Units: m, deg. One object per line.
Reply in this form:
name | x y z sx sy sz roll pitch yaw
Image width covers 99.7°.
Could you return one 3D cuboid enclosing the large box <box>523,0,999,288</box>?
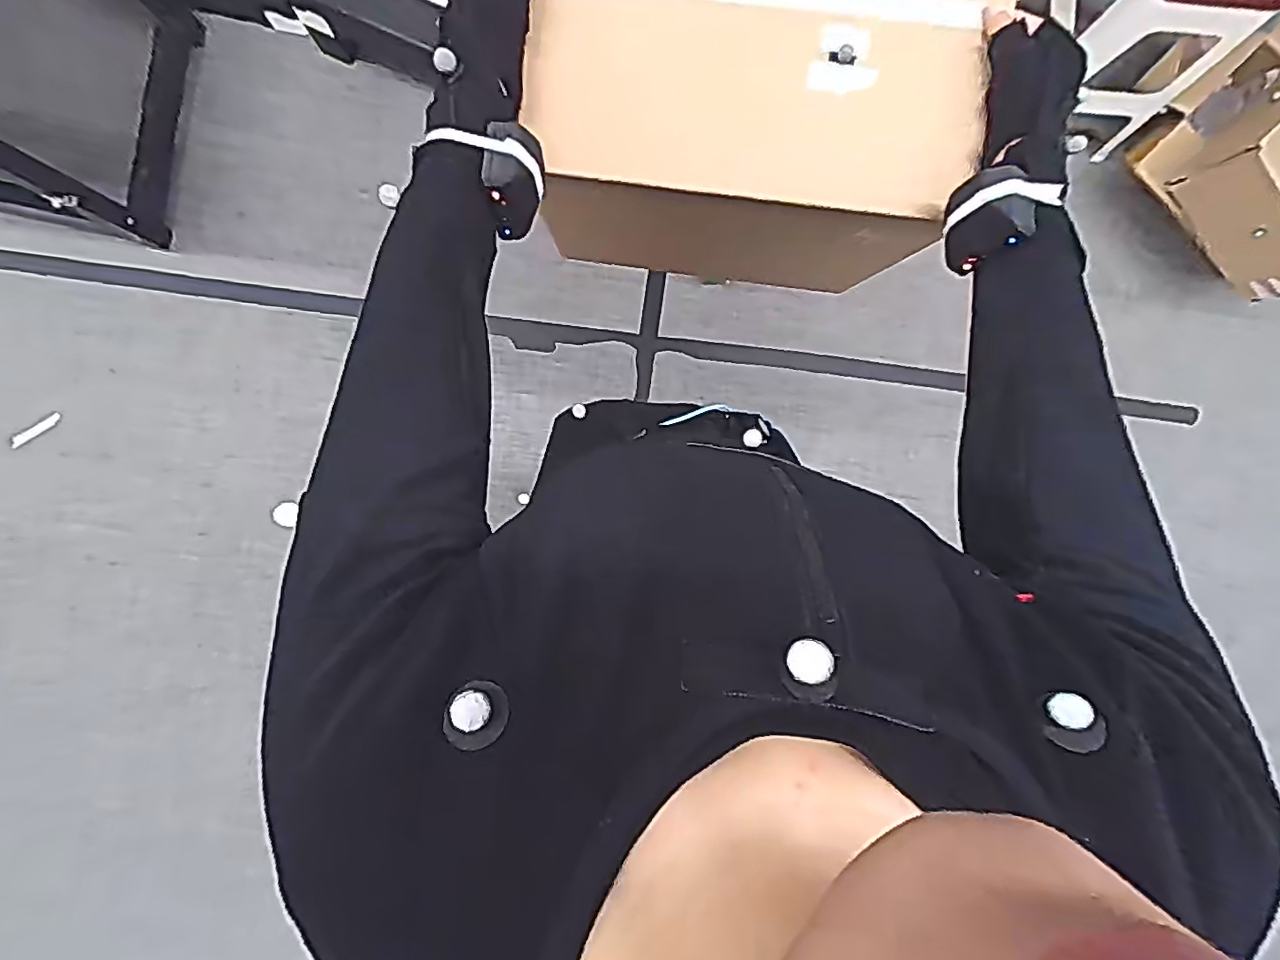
large box | 0.103 -0.422 0.608 0.408 0.320 0.320 6 99 -2
